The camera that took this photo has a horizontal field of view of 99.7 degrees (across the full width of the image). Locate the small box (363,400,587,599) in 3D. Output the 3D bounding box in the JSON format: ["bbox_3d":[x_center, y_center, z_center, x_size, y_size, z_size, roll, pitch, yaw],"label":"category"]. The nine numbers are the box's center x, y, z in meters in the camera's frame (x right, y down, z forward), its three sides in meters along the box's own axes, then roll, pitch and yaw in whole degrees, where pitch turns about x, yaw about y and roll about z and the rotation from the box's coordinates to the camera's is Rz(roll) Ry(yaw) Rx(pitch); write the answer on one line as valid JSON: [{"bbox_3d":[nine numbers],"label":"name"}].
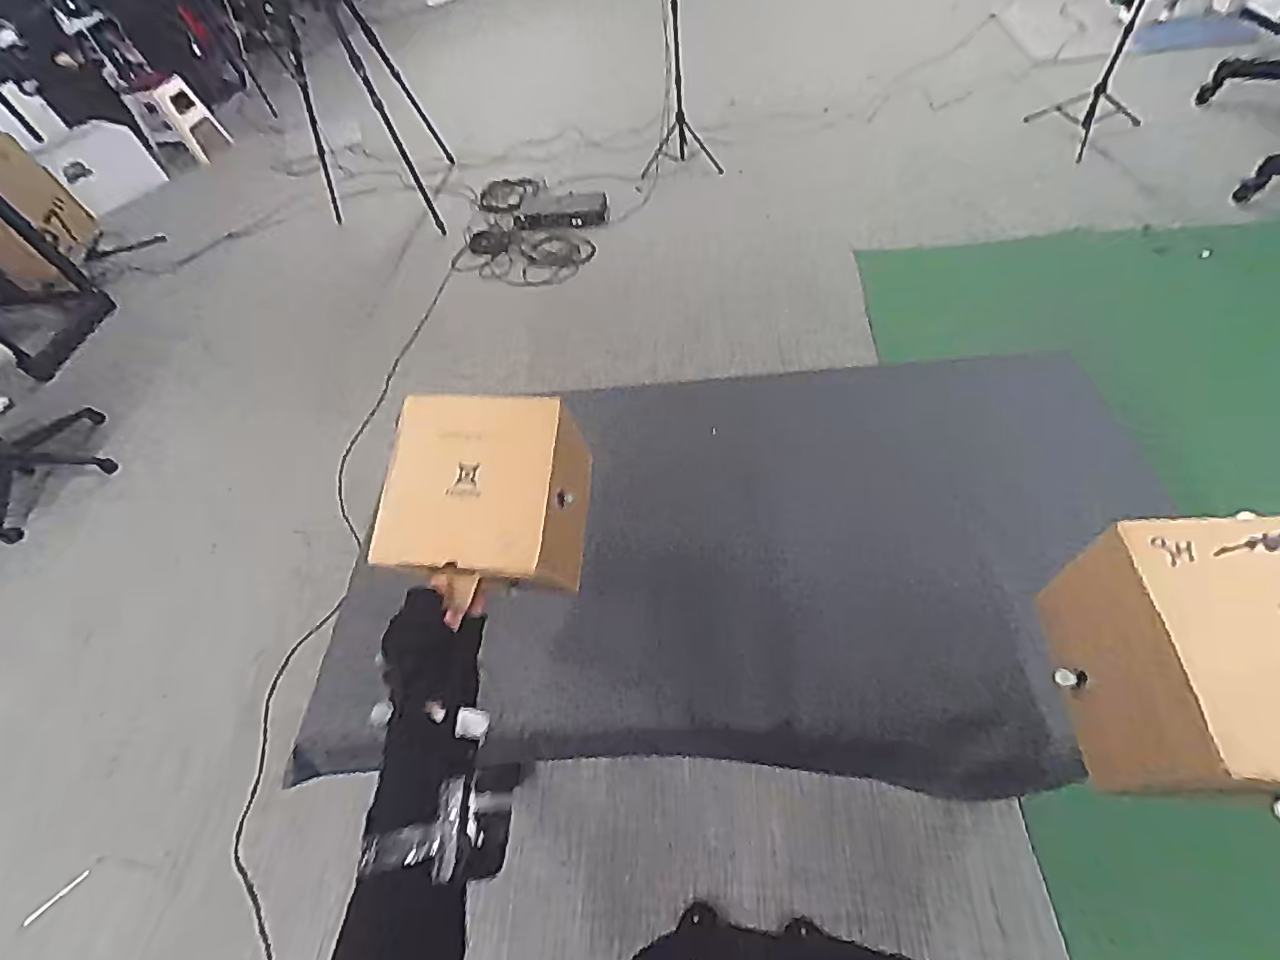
[{"bbox_3d":[-0.158,0.030,0.583,0.168,0.176,0.179,2,71,7],"label":"small box"}]
